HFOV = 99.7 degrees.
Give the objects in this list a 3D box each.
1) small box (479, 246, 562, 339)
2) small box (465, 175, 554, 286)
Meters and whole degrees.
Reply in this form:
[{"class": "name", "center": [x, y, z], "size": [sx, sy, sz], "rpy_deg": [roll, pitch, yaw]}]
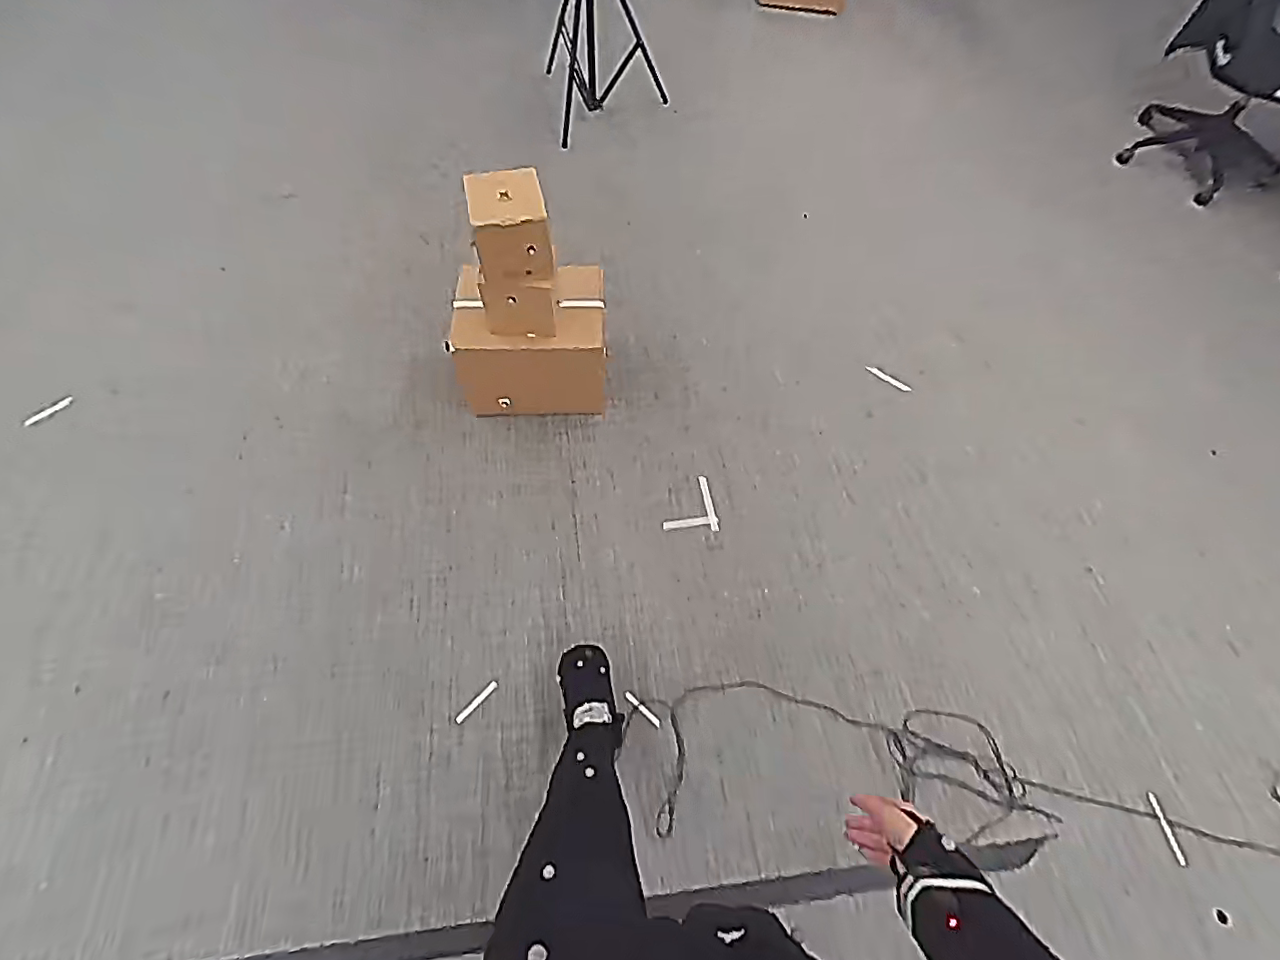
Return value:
[{"class": "small box", "center": [-0.301, -0.483, 1.397], "size": [0.179, 0.176, 0.168], "rpy_deg": [2, 63, -3]}, {"class": "small box", "center": [-0.299, -0.572, 1.260], "size": [0.168, 0.176, 0.179], "rpy_deg": [-11, 63, -10]}]
